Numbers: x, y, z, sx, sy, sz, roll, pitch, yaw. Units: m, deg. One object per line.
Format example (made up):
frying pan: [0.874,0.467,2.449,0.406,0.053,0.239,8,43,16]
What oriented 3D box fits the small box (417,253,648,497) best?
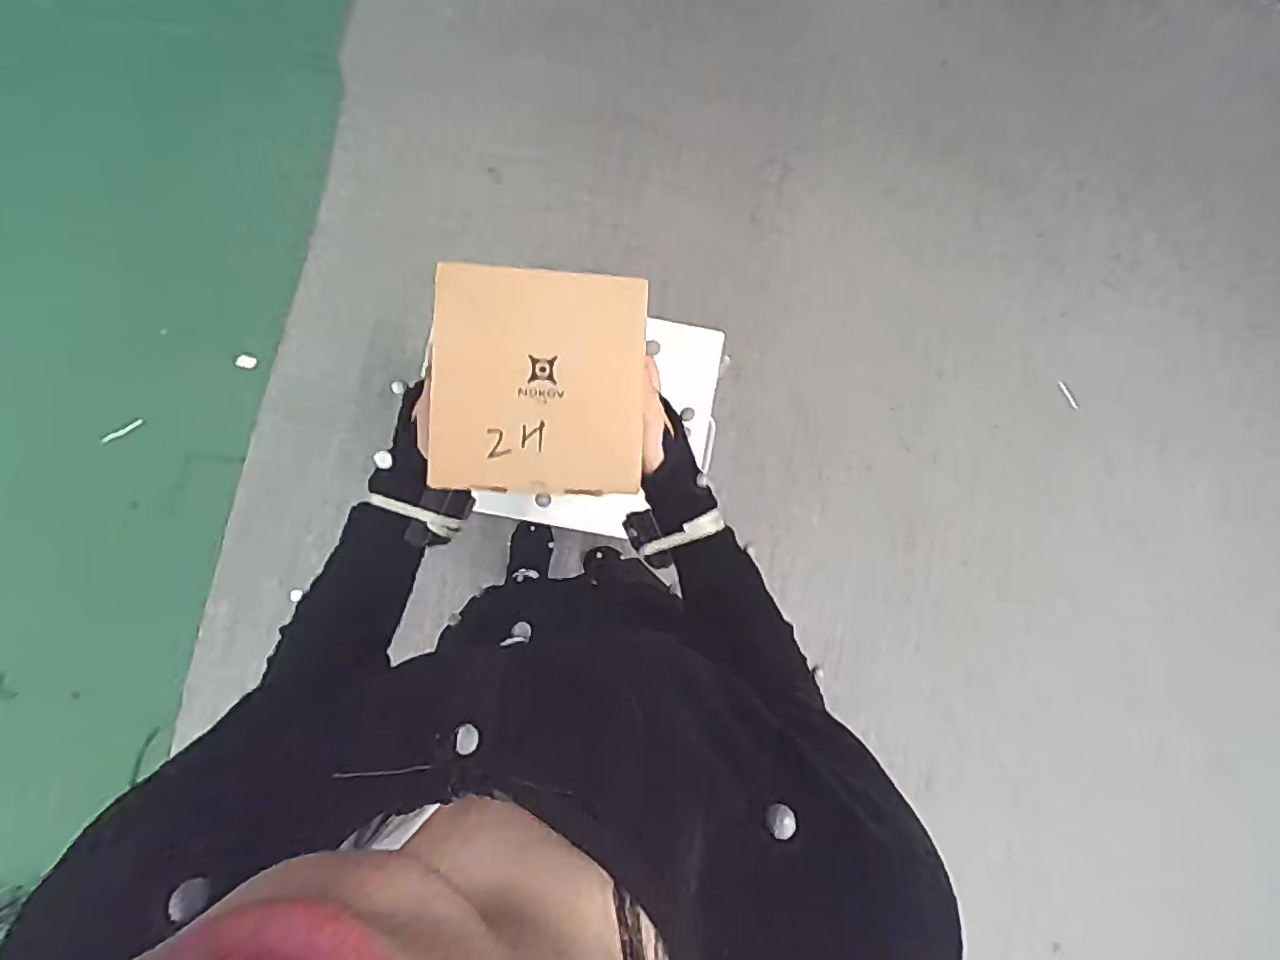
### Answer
small box: [-0.086,-0.075,0.482,0.168,0.176,0.179,2,88,-5]
